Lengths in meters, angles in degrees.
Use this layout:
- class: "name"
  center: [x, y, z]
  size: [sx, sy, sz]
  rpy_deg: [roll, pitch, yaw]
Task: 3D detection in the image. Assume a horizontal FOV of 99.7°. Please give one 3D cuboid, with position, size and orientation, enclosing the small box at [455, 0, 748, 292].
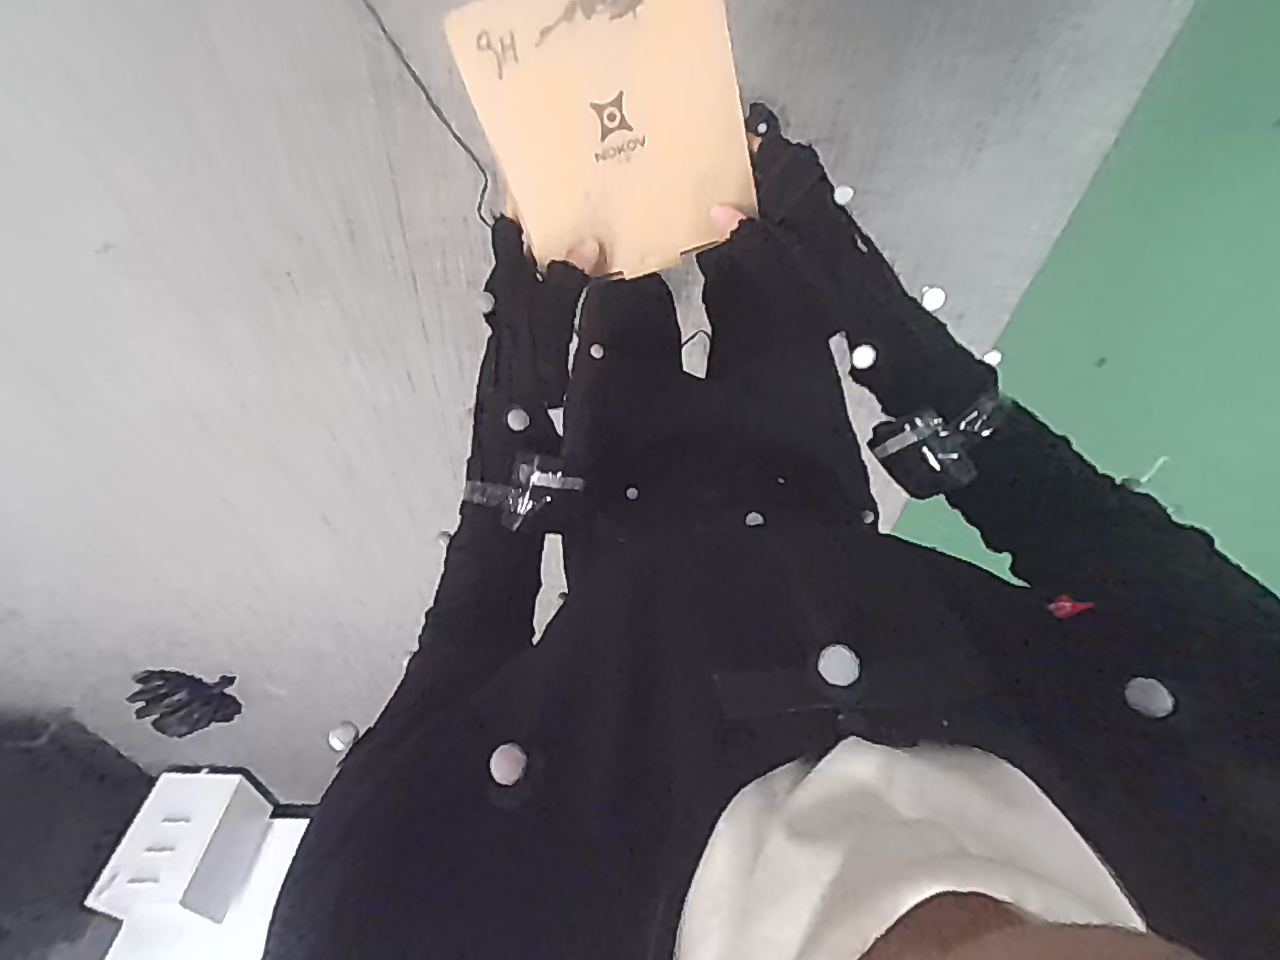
- class: "small box"
  center: [-0.014, -0.280, 0.437]
  size: [0.168, 0.176, 0.179]
  rpy_deg: [-12, 125, 11]
